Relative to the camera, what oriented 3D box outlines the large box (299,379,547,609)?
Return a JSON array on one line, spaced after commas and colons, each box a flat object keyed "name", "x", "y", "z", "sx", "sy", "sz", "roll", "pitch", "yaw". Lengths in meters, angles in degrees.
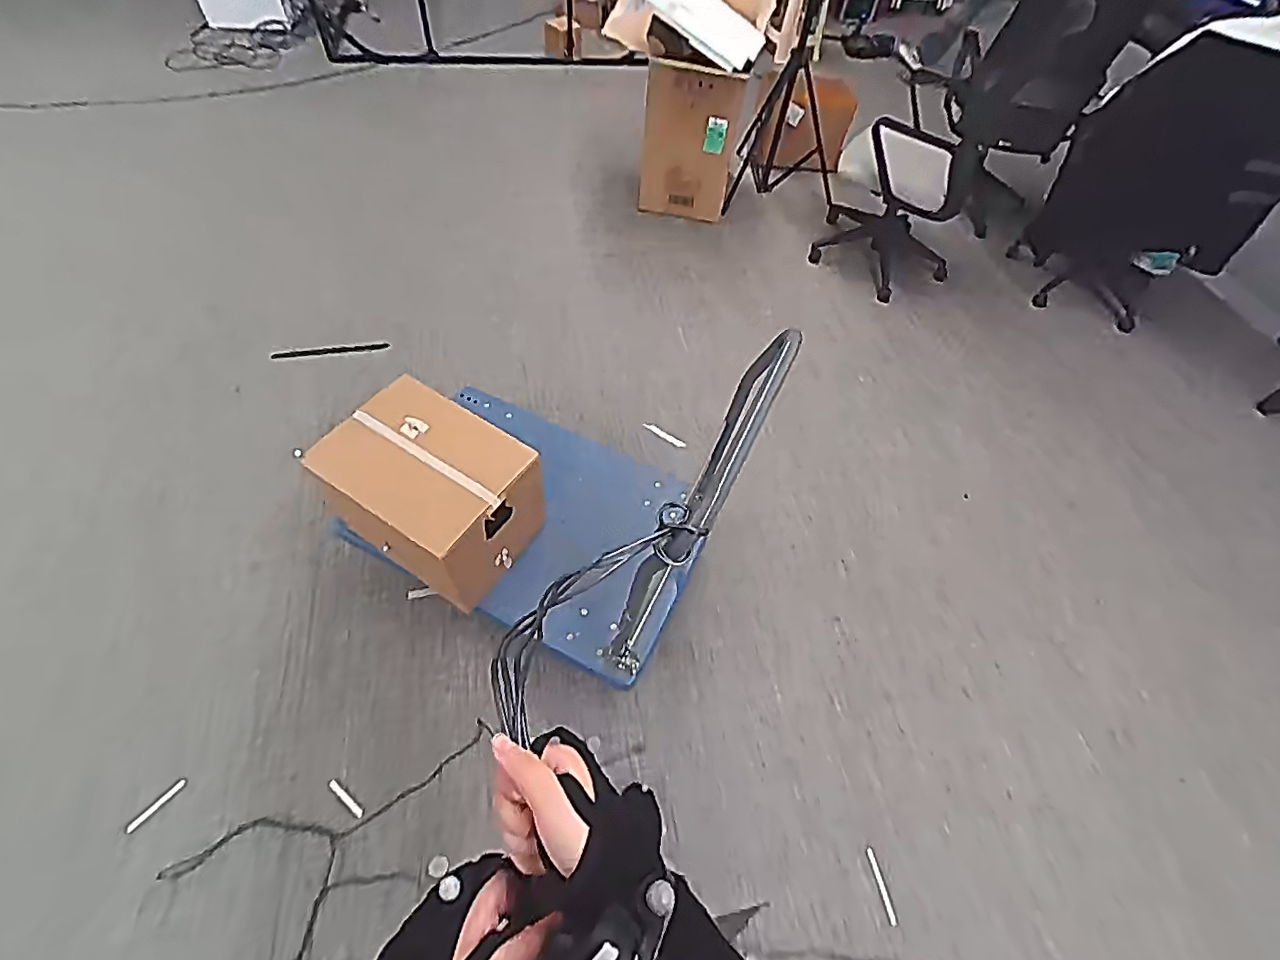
[{"name": "large box", "x": -0.478, "y": 0.037, "z": 1.282, "sx": 0.408, "sy": 0.320, "sz": 0.320, "roll": 30, "pitch": 58, "yaw": 14}]
